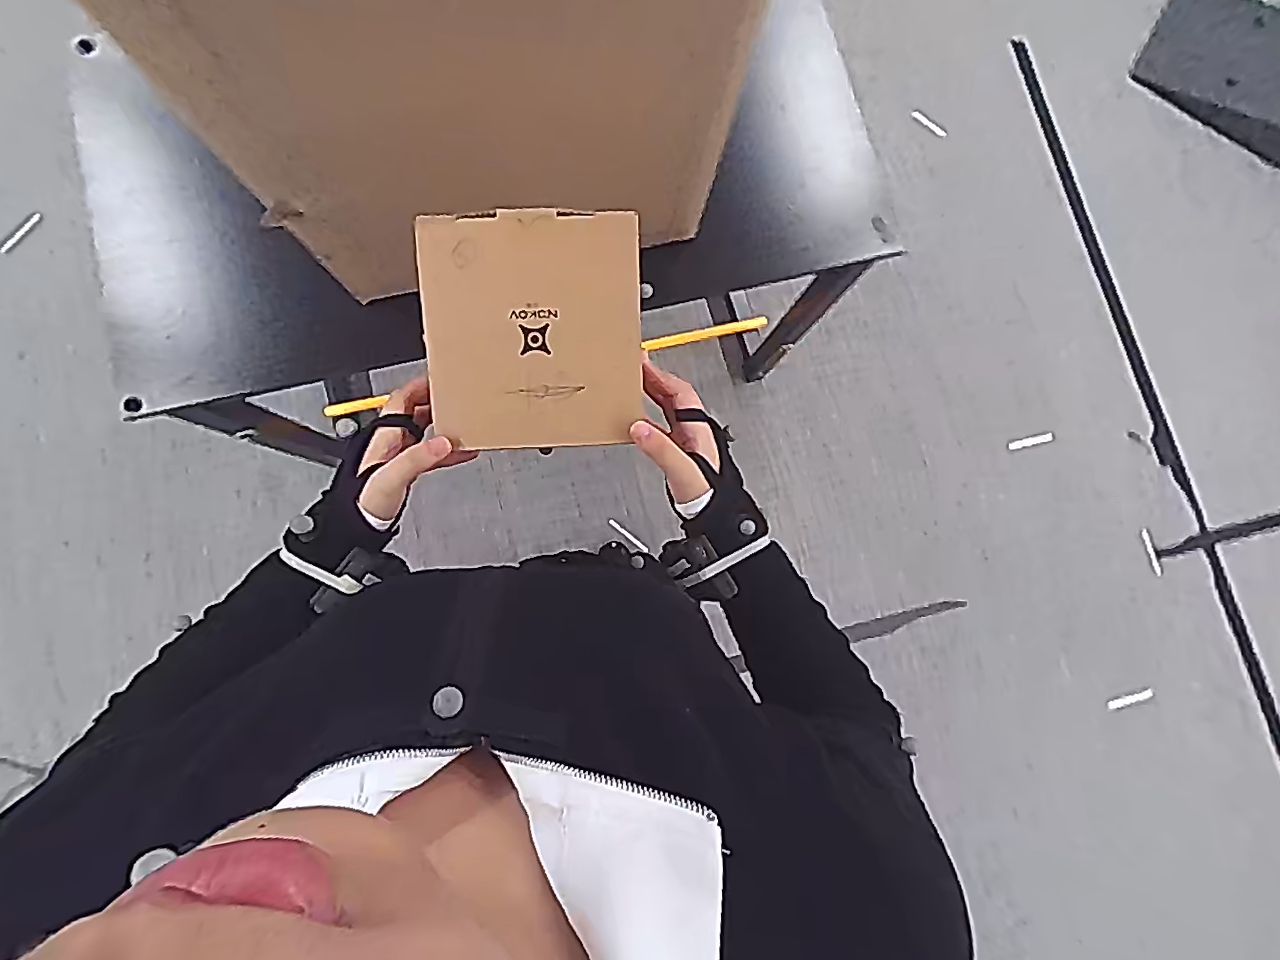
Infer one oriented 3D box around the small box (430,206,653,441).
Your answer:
[{"bbox_3d":[-0.077,-0.129,0.493,0.168,0.176,0.179,-2,100,-3],"label":"small box"}]
